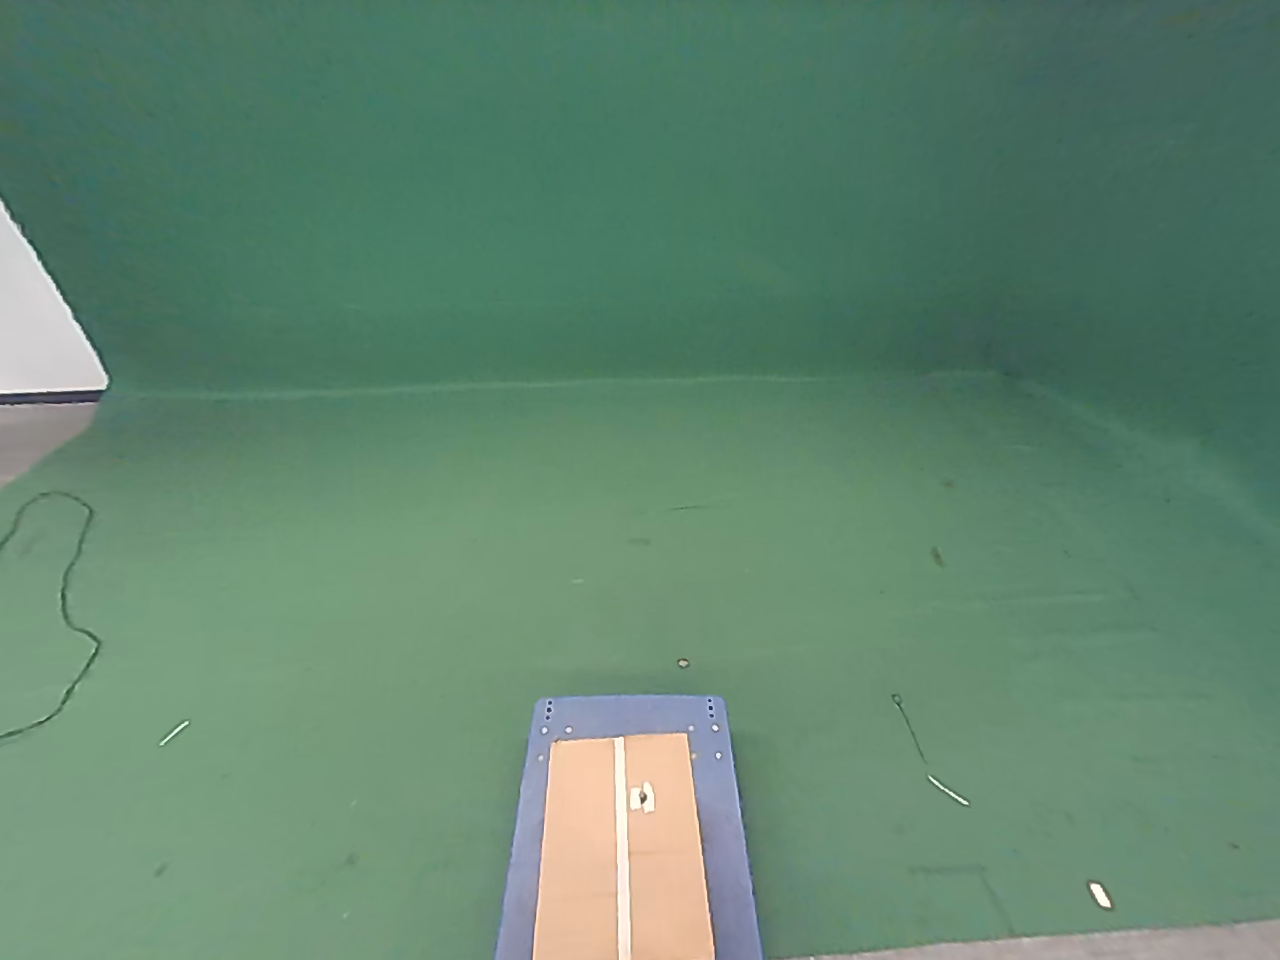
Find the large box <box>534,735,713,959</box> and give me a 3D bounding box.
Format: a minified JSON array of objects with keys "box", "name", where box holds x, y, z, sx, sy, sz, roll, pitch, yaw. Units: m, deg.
[{"box":[-0.036,0.832,1.165,0.320,0.320,0.408,-2,36,-2],"name":"large box"}]
